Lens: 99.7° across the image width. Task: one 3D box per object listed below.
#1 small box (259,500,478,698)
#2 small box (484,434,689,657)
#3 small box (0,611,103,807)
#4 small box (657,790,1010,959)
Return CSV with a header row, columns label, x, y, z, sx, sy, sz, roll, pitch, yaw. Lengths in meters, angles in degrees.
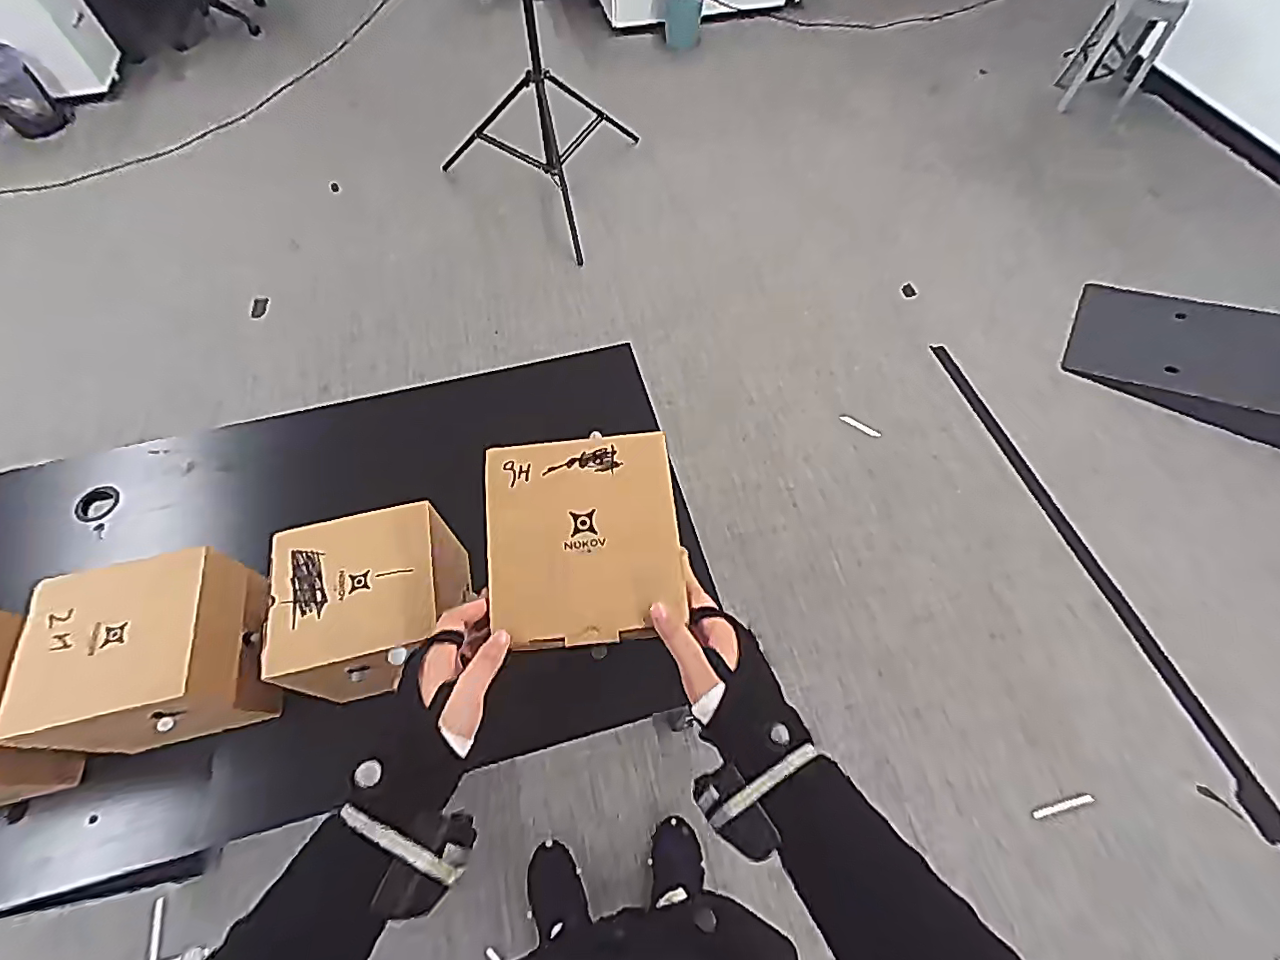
label,x,y,z,sx,sy,sz,roll,pitch,yaw
small box,-0.309,0.149,0.647,0.179,0.176,0.168,-13,62,-7
small box,-0.047,0.070,0.532,0.168,0.176,0.179,-6,75,-2
small box,-0.752,0.261,0.588,0.168,0.176,0.179,-14,62,-6
small box,0.131,0.339,0.365,0.179,0.176,0.168,-10,73,44
